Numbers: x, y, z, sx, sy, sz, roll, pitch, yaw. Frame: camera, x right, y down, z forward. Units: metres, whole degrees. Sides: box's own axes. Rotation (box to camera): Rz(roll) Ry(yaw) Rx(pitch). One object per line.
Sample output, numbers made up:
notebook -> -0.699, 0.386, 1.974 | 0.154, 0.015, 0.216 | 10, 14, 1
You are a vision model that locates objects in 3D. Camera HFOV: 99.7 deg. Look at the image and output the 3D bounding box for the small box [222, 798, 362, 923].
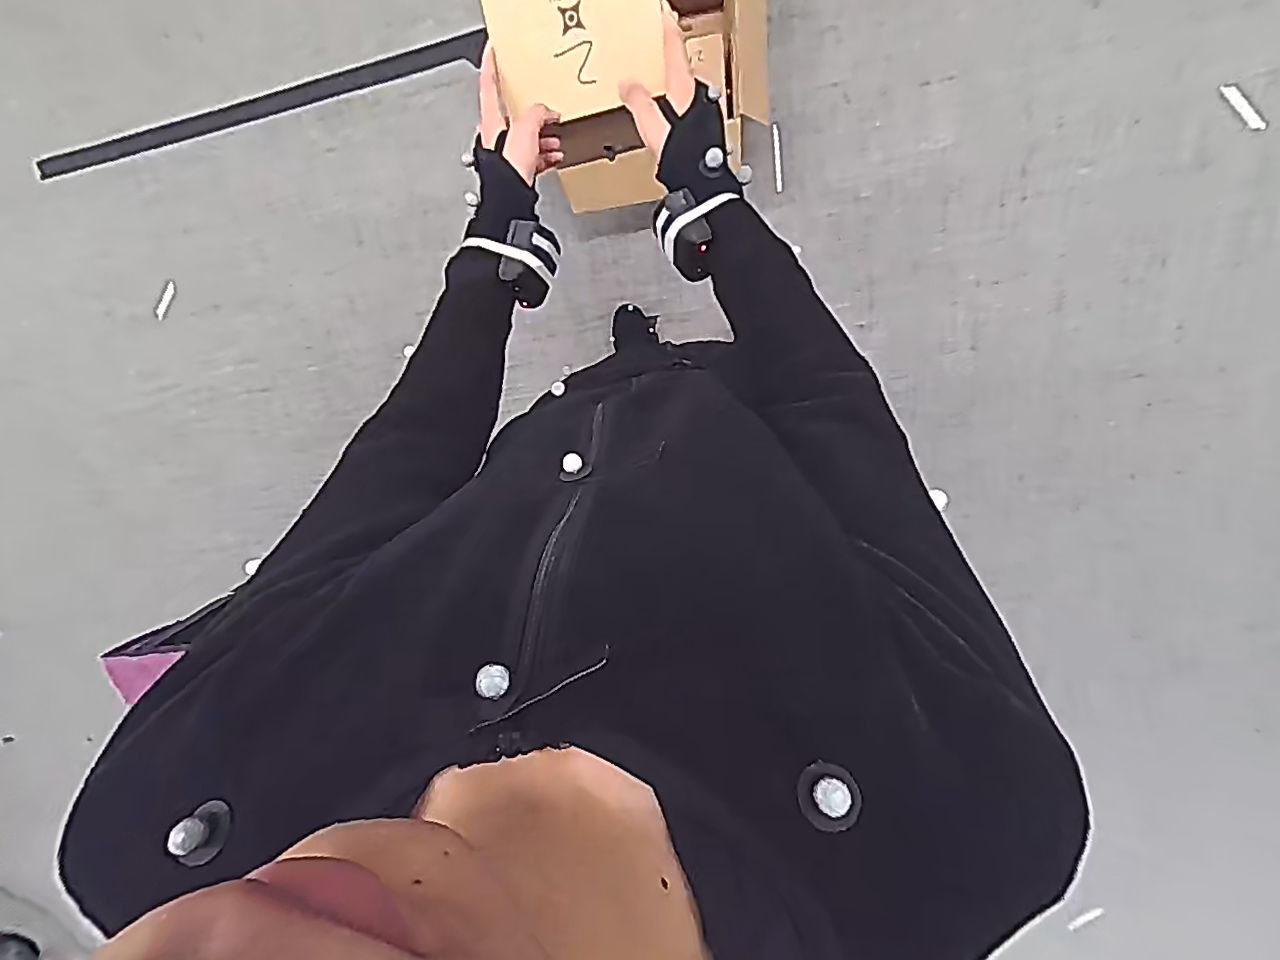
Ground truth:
small box -> -0.780, 0.860, 1.231 | 0.179, 0.176, 0.168 | -12, 107, 11
